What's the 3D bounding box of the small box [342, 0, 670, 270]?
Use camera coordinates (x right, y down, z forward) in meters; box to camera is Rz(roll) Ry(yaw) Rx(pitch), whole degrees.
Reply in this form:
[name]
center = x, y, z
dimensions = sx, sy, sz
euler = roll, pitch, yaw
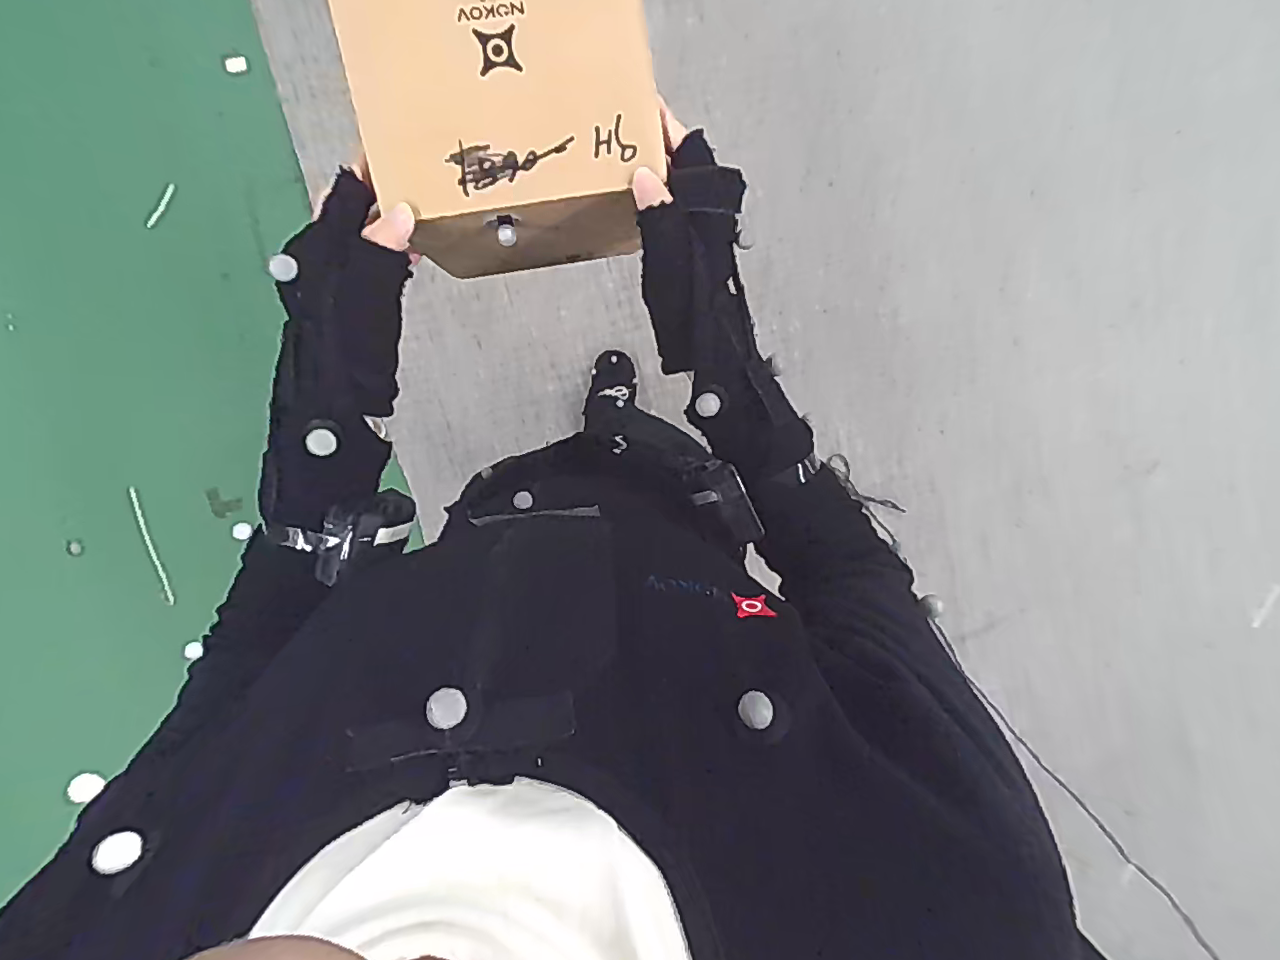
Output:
[small box]
center = -0.081, -0.261, 0.372
dimensions = 0.168, 0.176, 0.179
euler = -10, 102, -2
